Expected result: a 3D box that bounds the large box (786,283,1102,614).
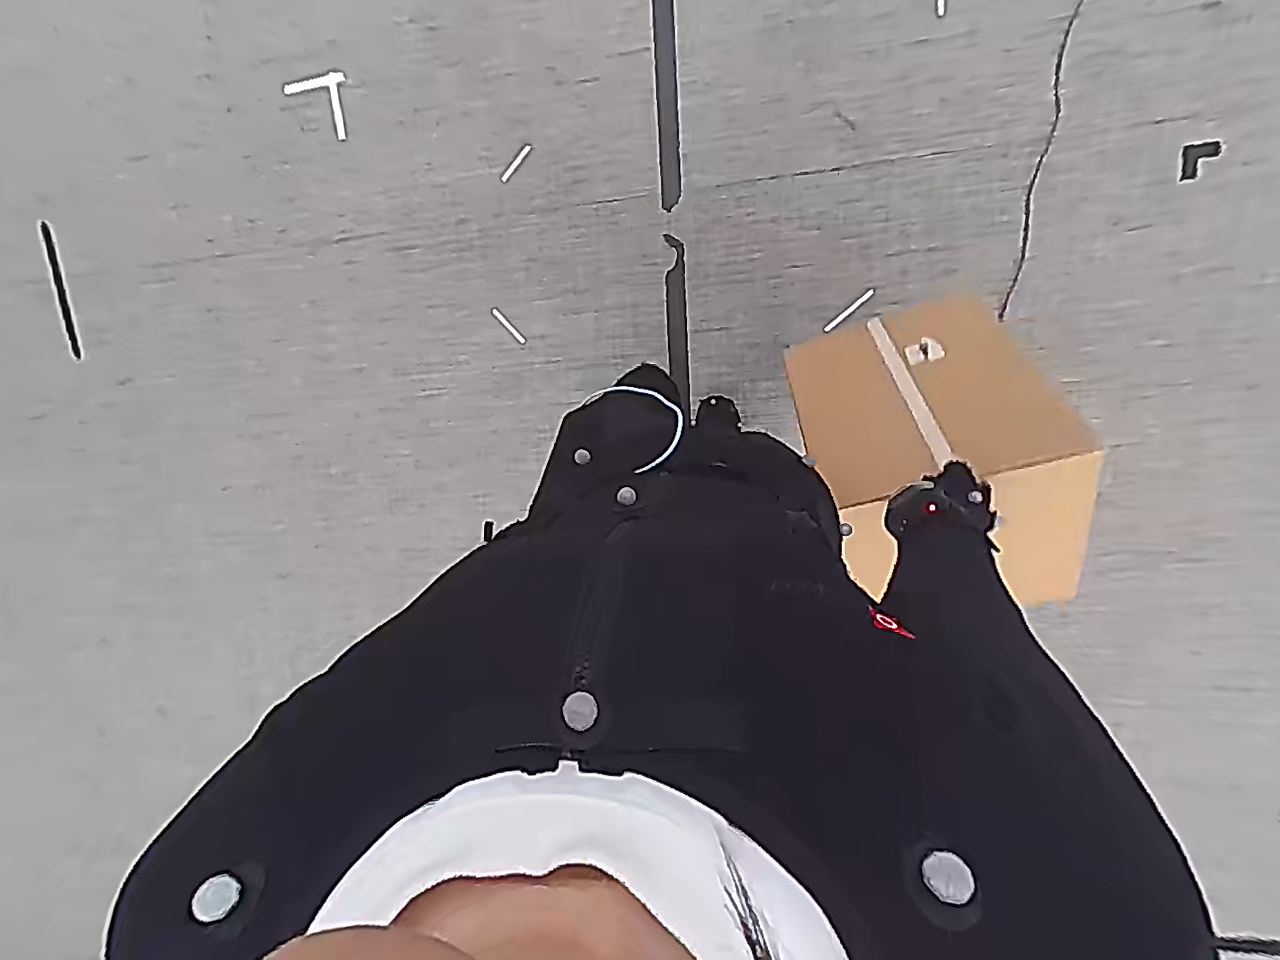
[{"bbox_3d":[0.462,-0.050,0.895,0.320,0.408,0.320,-16,131,18],"label":"large box"}]
